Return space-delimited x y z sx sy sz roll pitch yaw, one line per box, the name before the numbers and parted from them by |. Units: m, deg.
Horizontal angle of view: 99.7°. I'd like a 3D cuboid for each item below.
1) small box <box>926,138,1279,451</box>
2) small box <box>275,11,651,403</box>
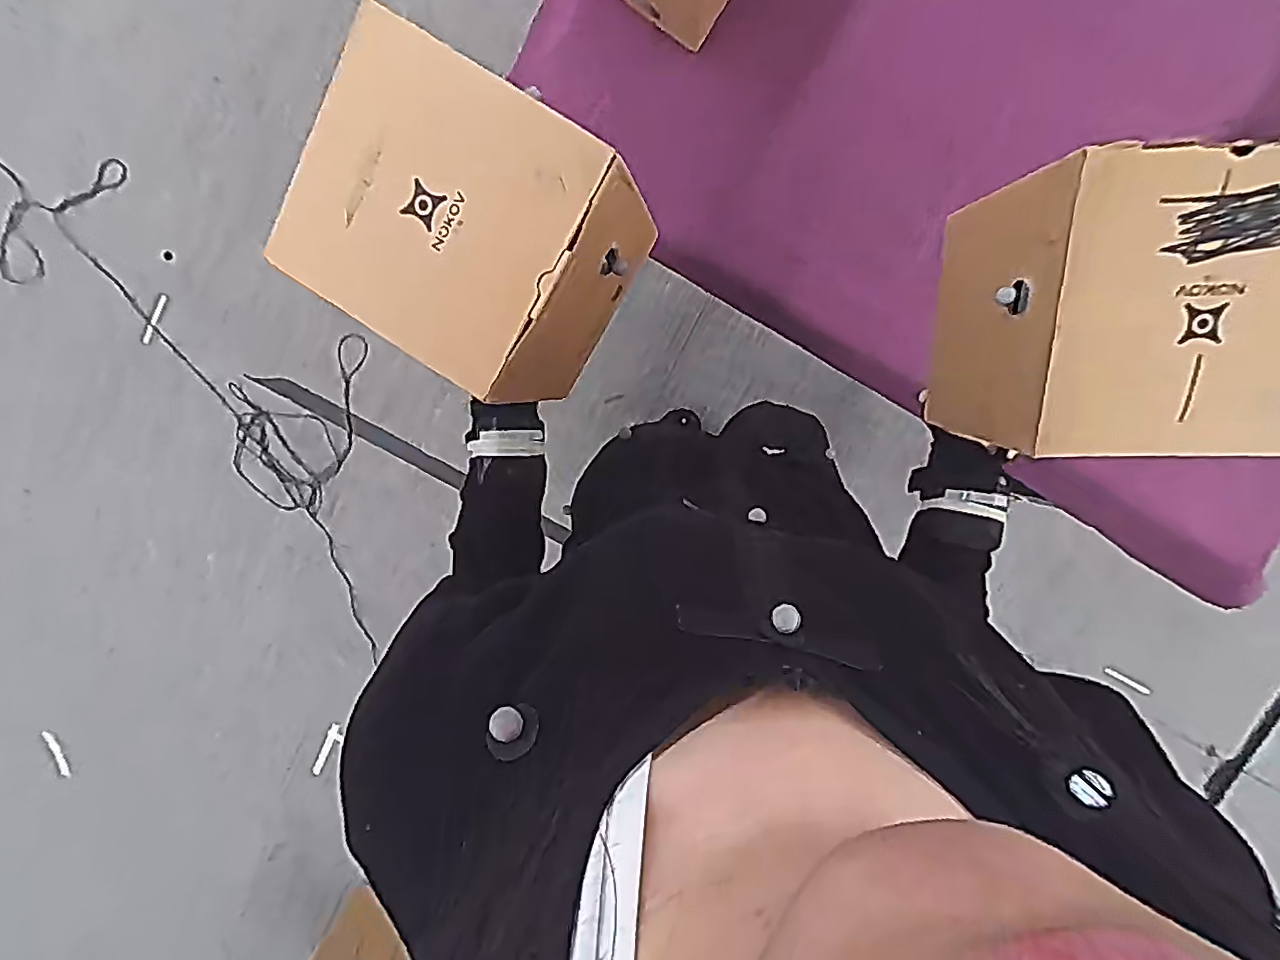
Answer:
small box | 0.332 -0.121 0.394 0.168 0.176 0.179 0 104 5
small box | -0.109 -0.174 0.404 0.179 0.176 0.168 32 102 4
